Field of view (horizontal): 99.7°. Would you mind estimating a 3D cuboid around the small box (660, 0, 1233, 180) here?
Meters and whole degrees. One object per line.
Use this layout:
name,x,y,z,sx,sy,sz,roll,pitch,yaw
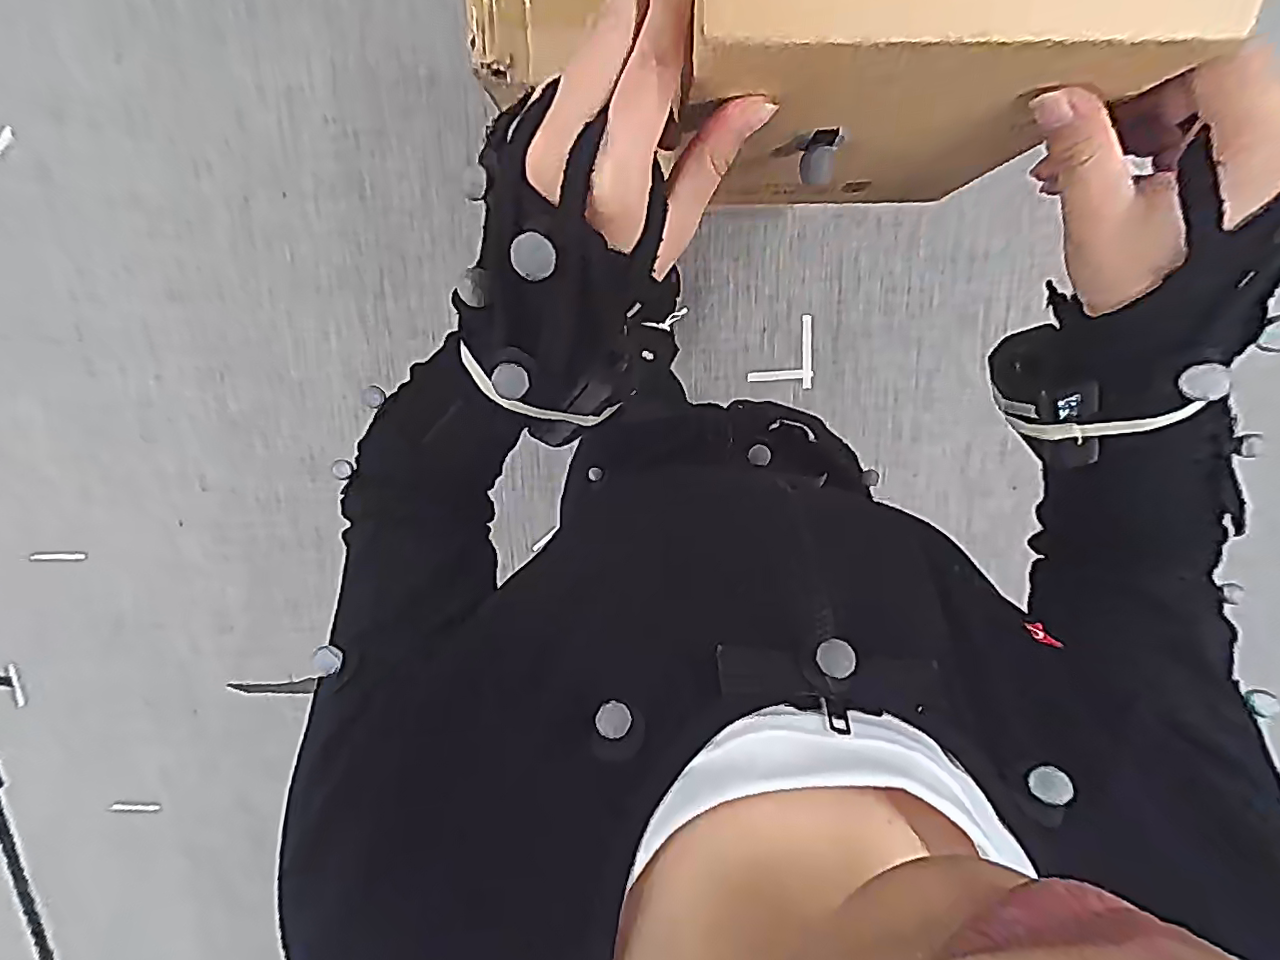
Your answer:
small box,0.095,-0.238,0.218,0.168,0.176,0.179,-1,101,0
